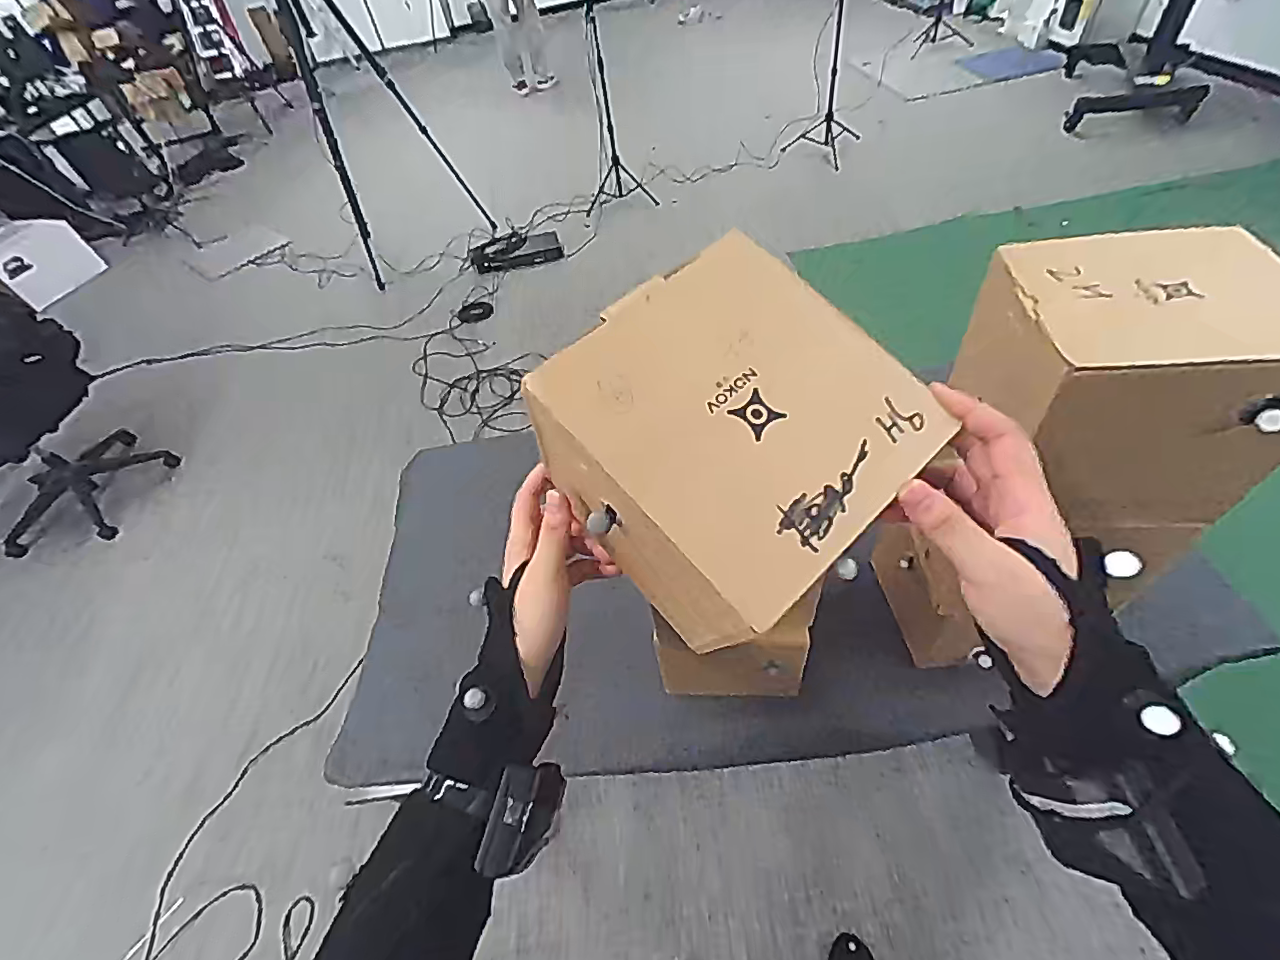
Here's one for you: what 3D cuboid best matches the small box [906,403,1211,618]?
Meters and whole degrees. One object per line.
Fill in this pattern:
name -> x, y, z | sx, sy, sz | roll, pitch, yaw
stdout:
small box -> 0.403, 0.033, 0.565 | 0.179, 0.176, 0.168 | -2, 49, 11

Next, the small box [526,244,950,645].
small box -> 0.048, -0.010, 0.365 | 0.168, 0.176, 0.179 | -38, 74, -16

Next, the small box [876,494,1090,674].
small box -> 0.425, 0.126, 0.697 | 0.168, 0.176, 0.179 | -10, 49, 3

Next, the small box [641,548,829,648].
small box -> 0.086, 0.066, 0.593 | 0.179, 0.176, 0.168 | -10, 49, 3

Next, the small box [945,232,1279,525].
small box -> 0.381, -0.076, 0.443 | 0.179, 0.176, 0.168 | -1, 49, 12
